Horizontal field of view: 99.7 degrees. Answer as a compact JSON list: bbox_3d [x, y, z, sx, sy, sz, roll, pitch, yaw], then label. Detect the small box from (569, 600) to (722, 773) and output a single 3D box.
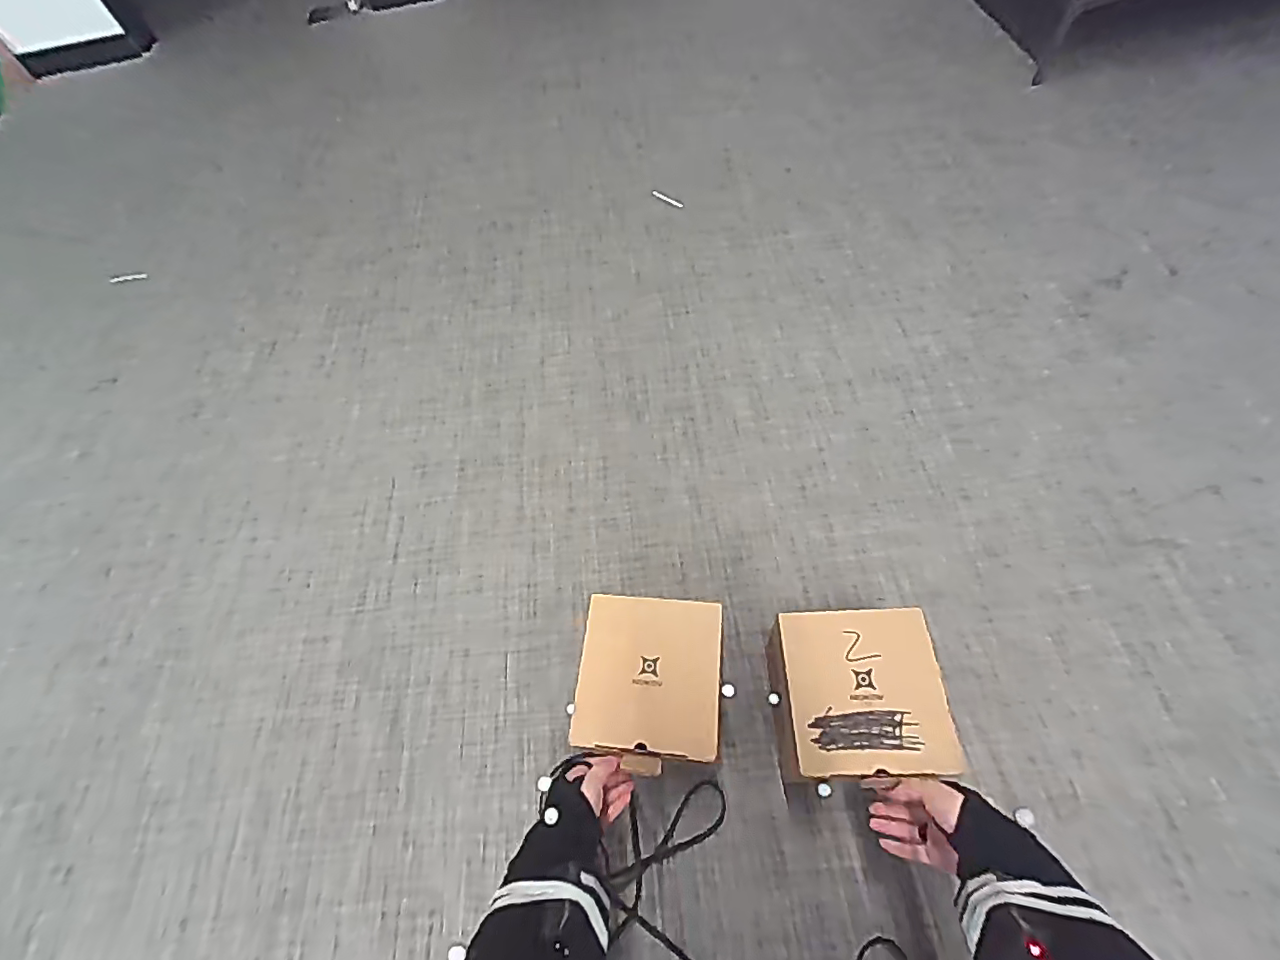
[{"bbox_3d":[0.018,0.270,0.700,0.168,0.176,0.179,2,61,9],"label":"small box"}]
